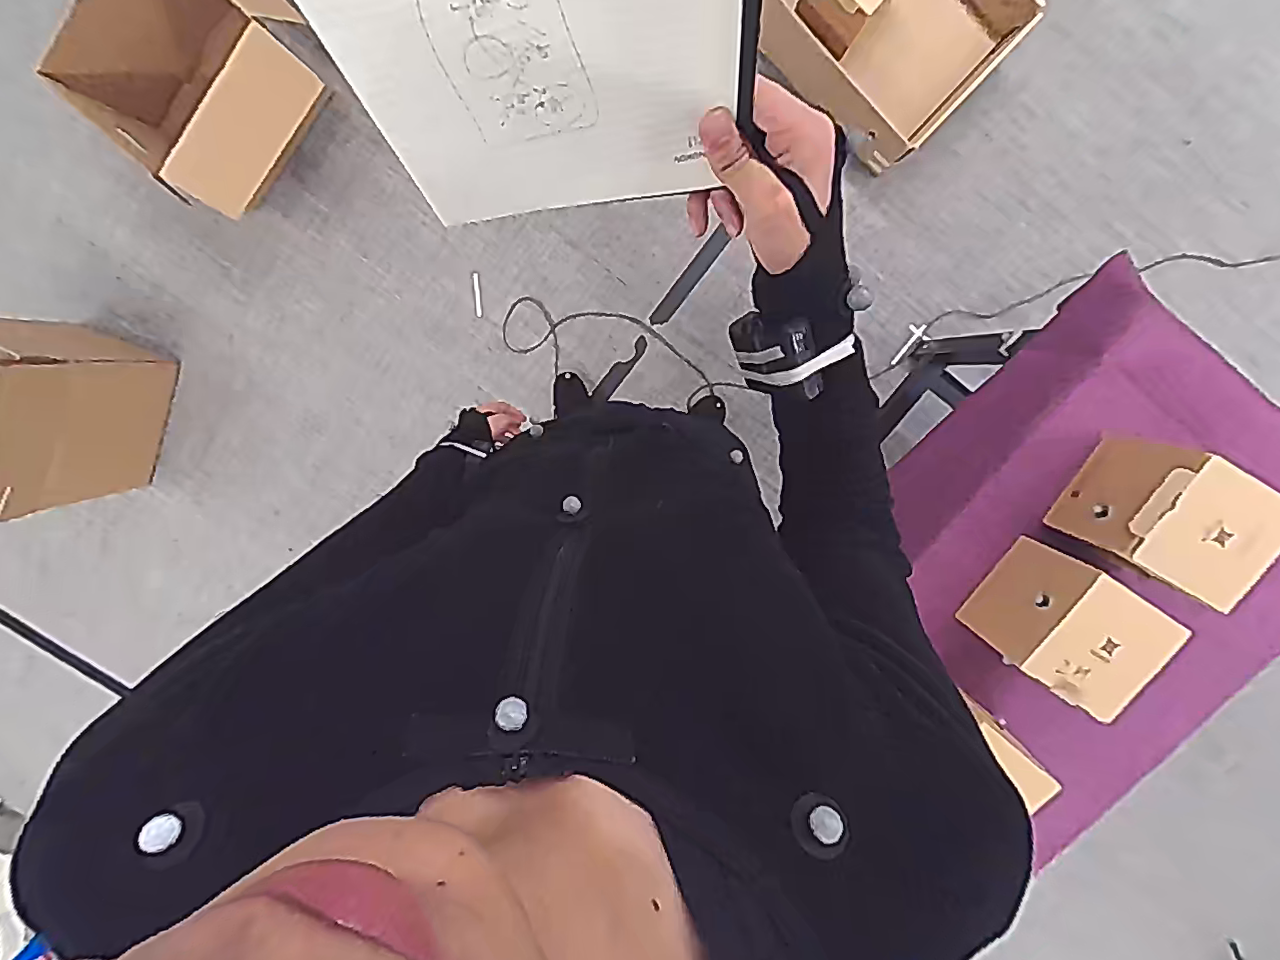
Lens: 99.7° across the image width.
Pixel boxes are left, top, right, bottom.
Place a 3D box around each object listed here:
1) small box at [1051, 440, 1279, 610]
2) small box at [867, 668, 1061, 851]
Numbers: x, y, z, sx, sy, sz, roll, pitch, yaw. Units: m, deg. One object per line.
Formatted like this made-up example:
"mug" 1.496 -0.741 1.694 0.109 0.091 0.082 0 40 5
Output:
"small box" 0.770 0.053 0.794 0.179 0.176 0.168 29 102 -5
"small box" 0.510 0.439 0.882 0.179 0.176 0.168 40 100 -8
